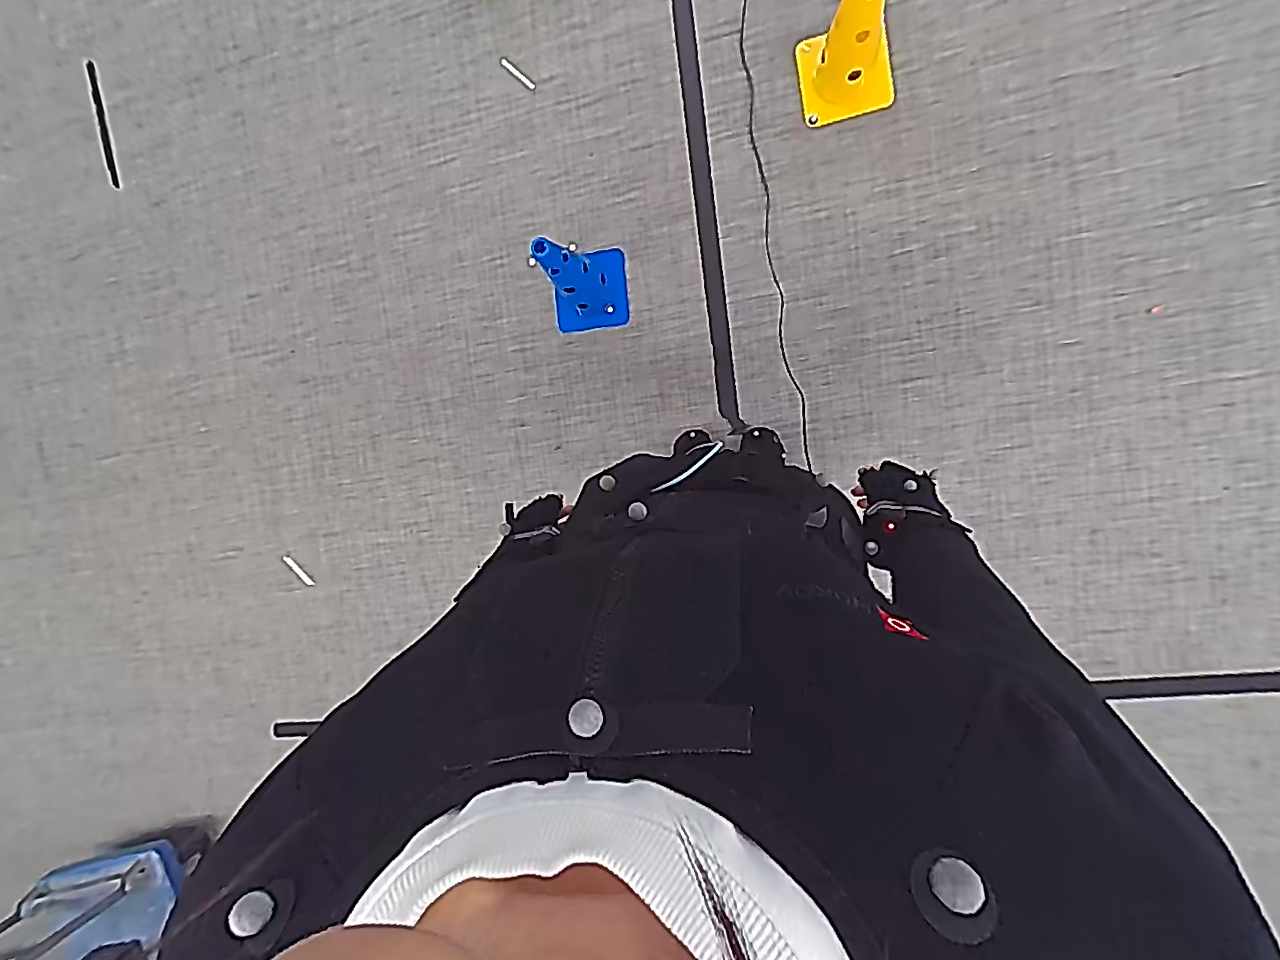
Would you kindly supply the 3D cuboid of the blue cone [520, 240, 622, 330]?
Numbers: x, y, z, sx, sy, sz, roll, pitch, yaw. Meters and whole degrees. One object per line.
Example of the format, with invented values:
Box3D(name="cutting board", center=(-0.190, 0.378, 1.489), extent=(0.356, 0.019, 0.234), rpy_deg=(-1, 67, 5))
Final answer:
Box3D(name="blue cone", center=(-0.178, -0.489, 1.278), extent=(0.192, 0.380, 0.193), rpy_deg=(-3, 94, 13))
